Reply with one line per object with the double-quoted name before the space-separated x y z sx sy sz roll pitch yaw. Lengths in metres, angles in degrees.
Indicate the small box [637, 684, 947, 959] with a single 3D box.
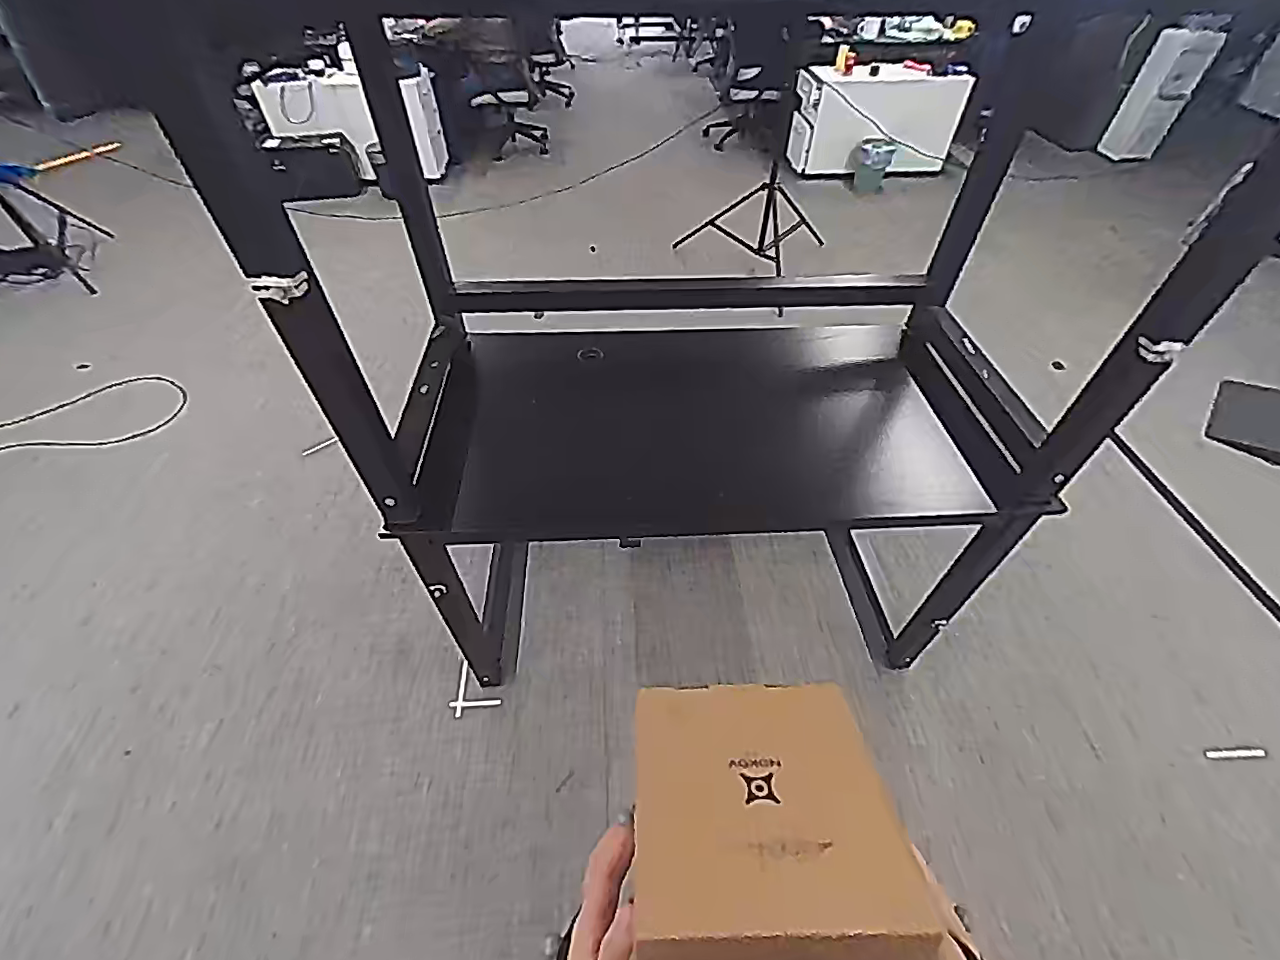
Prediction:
"small box" 0.082 0.275 0.391 0.168 0.176 0.179 -2 25 1
